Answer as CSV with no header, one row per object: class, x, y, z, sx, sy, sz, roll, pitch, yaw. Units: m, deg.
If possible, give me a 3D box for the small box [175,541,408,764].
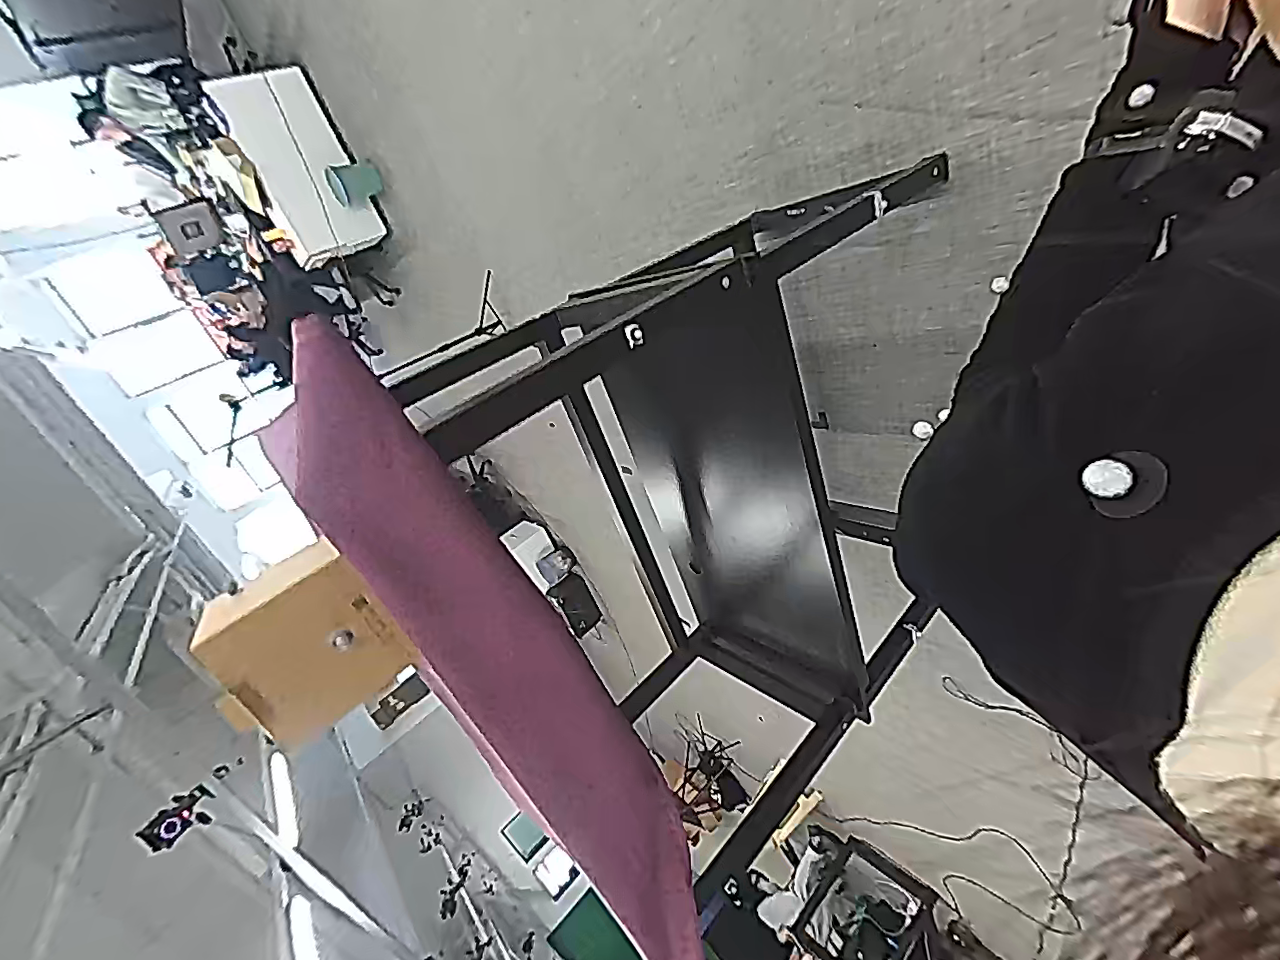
small box,-0.413,0.193,0.664,0.179,0.176,0.168,6,128,55
